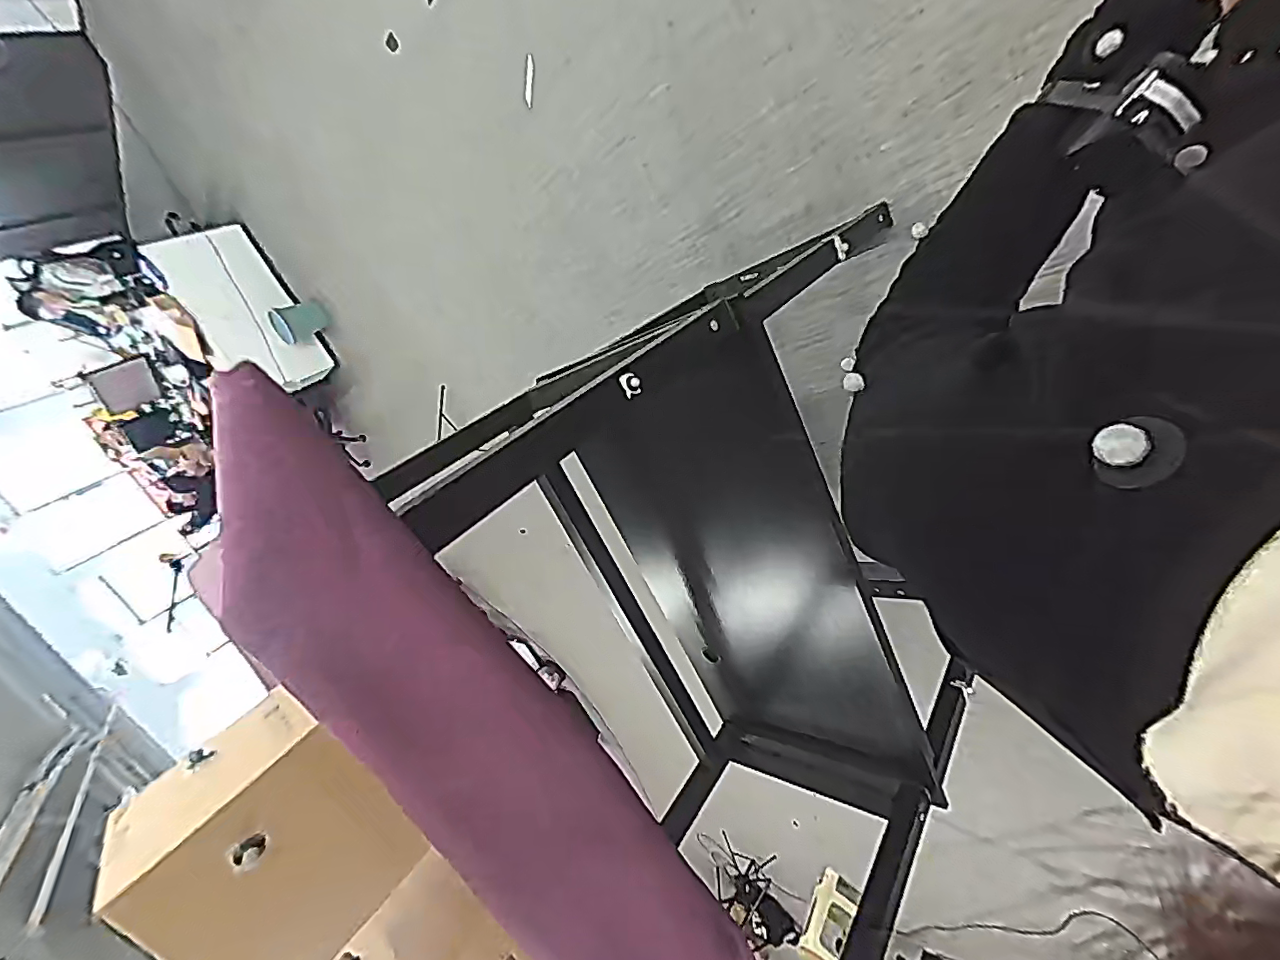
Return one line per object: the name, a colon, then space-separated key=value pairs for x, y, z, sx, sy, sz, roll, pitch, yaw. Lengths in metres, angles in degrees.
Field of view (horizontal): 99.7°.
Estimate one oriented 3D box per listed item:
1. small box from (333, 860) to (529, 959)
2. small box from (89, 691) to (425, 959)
small box: x=-0.224 y=0.567 z=0.593 sx=0.179 sy=0.176 sz=0.168 roll=-9 pitch=116 yaw=49
small box: x=-0.338 y=0.328 z=0.497 sx=0.168 sy=0.176 sz=0.179 roll=-4 pitch=120 yaw=48
